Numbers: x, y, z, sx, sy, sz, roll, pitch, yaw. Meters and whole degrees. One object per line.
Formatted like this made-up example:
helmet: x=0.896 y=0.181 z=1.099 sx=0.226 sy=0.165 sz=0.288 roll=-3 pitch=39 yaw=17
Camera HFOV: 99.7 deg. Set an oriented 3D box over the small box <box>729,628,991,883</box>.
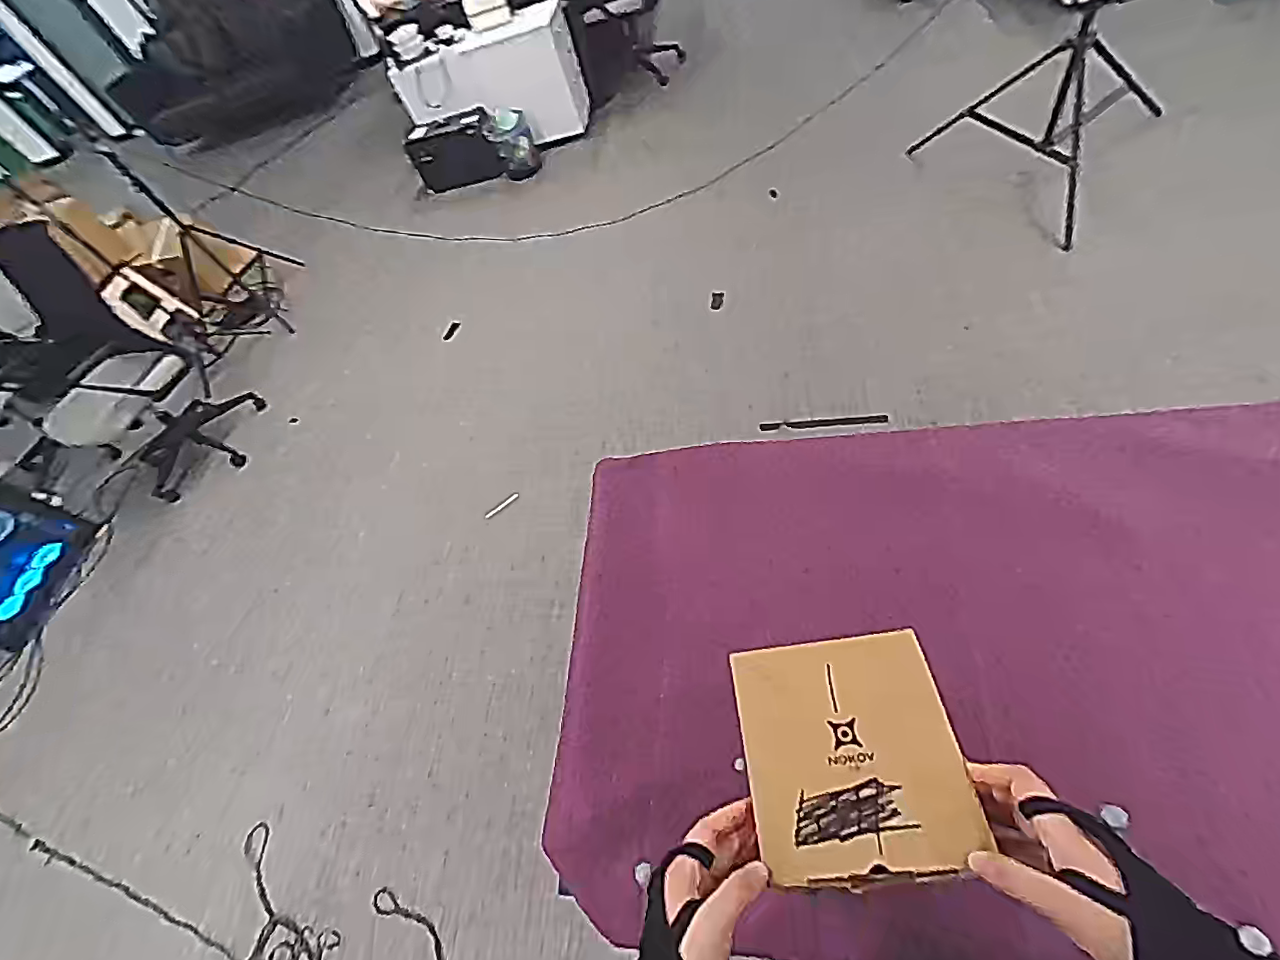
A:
small box: x=0.182 y=0.260 z=0.498 sx=0.168 sy=0.176 sz=0.179 roll=-10 pitch=50 yaw=9
